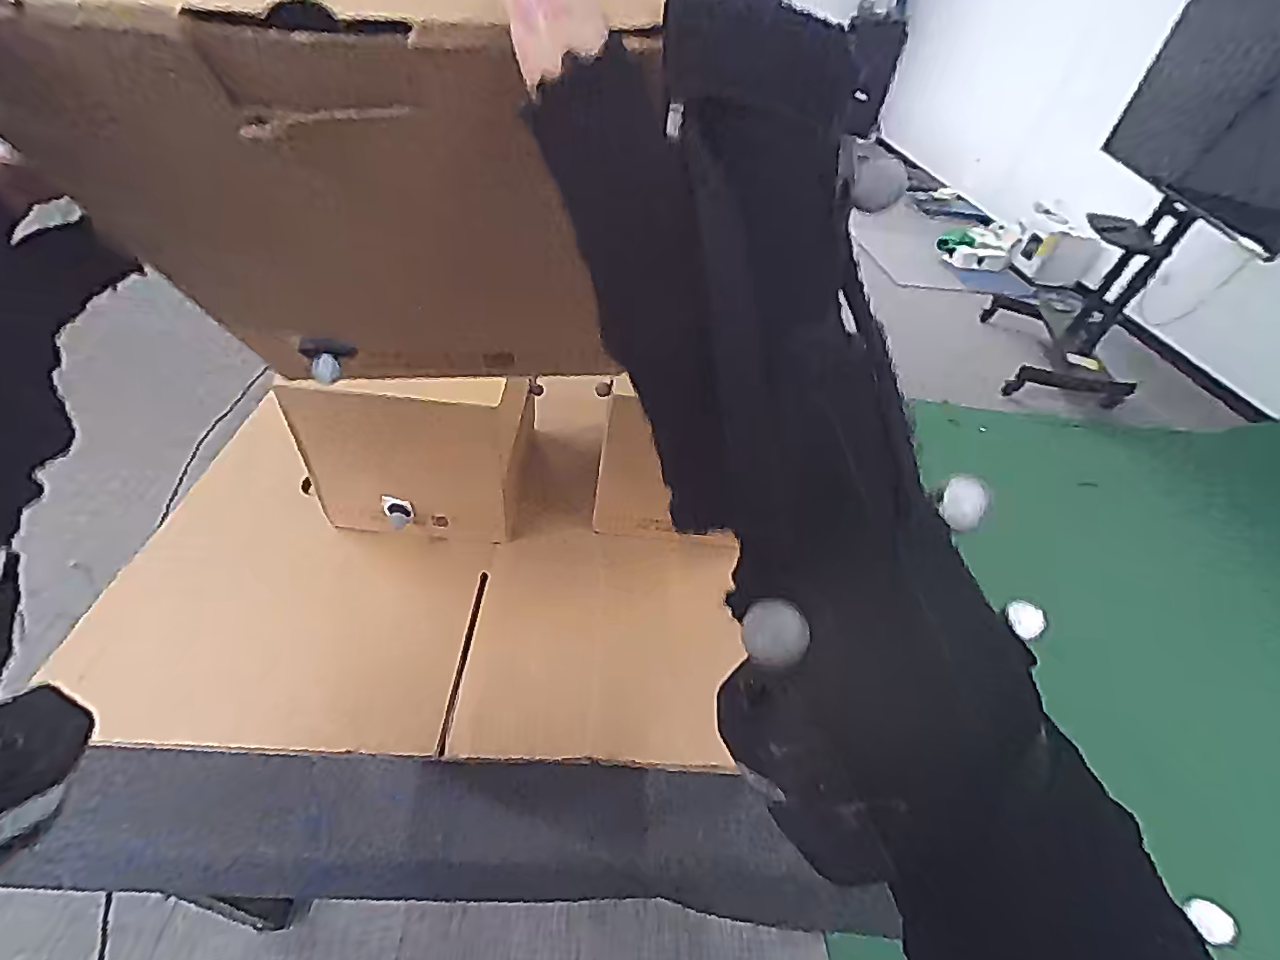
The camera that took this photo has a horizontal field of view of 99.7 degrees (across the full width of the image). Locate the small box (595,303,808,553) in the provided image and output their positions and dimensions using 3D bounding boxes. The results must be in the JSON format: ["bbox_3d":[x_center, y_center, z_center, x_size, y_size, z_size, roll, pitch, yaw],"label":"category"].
[{"bbox_3d":[0.048,-0.053,0.549,0.168,0.176,0.179,7,43,-5],"label":"small box"}]

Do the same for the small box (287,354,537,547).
[{"bbox_3d":[-0.193,-0.059,0.522,0.168,0.176,0.179,4,46,-4],"label":"small box"}]

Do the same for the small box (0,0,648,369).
[{"bbox_3d":[-0.090,-0.157,0.223,0.168,0.176,0.179,-2,73,-7],"label":"small box"}]
